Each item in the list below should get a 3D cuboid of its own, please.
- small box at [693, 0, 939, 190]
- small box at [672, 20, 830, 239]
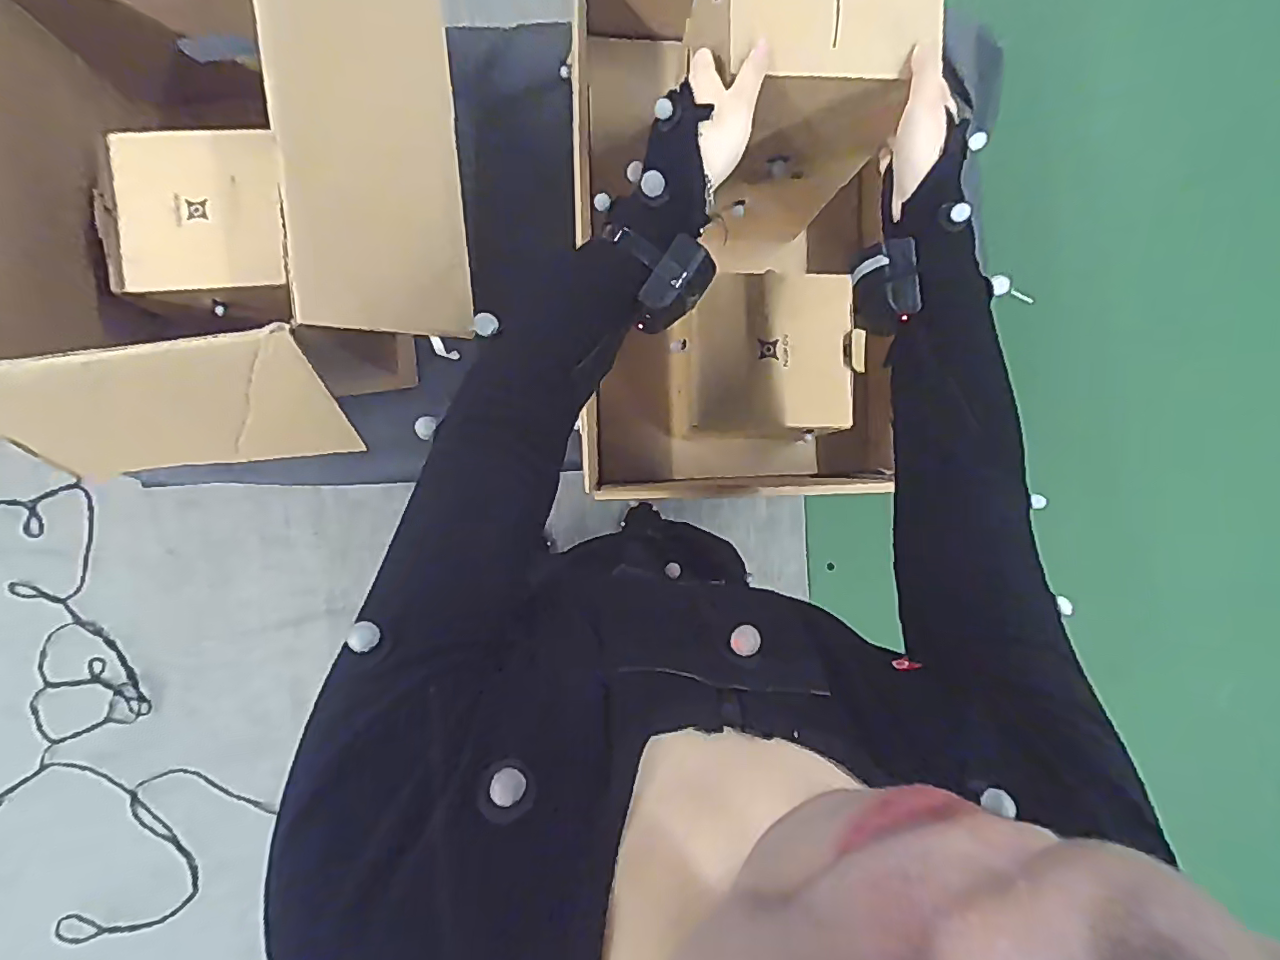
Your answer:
[{"bbox_3d":[0.141,-0.392,0.486,0.168,0.176,0.179,-1,94,-3],"label":"small box"},{"bbox_3d":[0.131,-0.403,0.650,0.179,0.176,0.168,0,93,-2],"label":"small box"}]
